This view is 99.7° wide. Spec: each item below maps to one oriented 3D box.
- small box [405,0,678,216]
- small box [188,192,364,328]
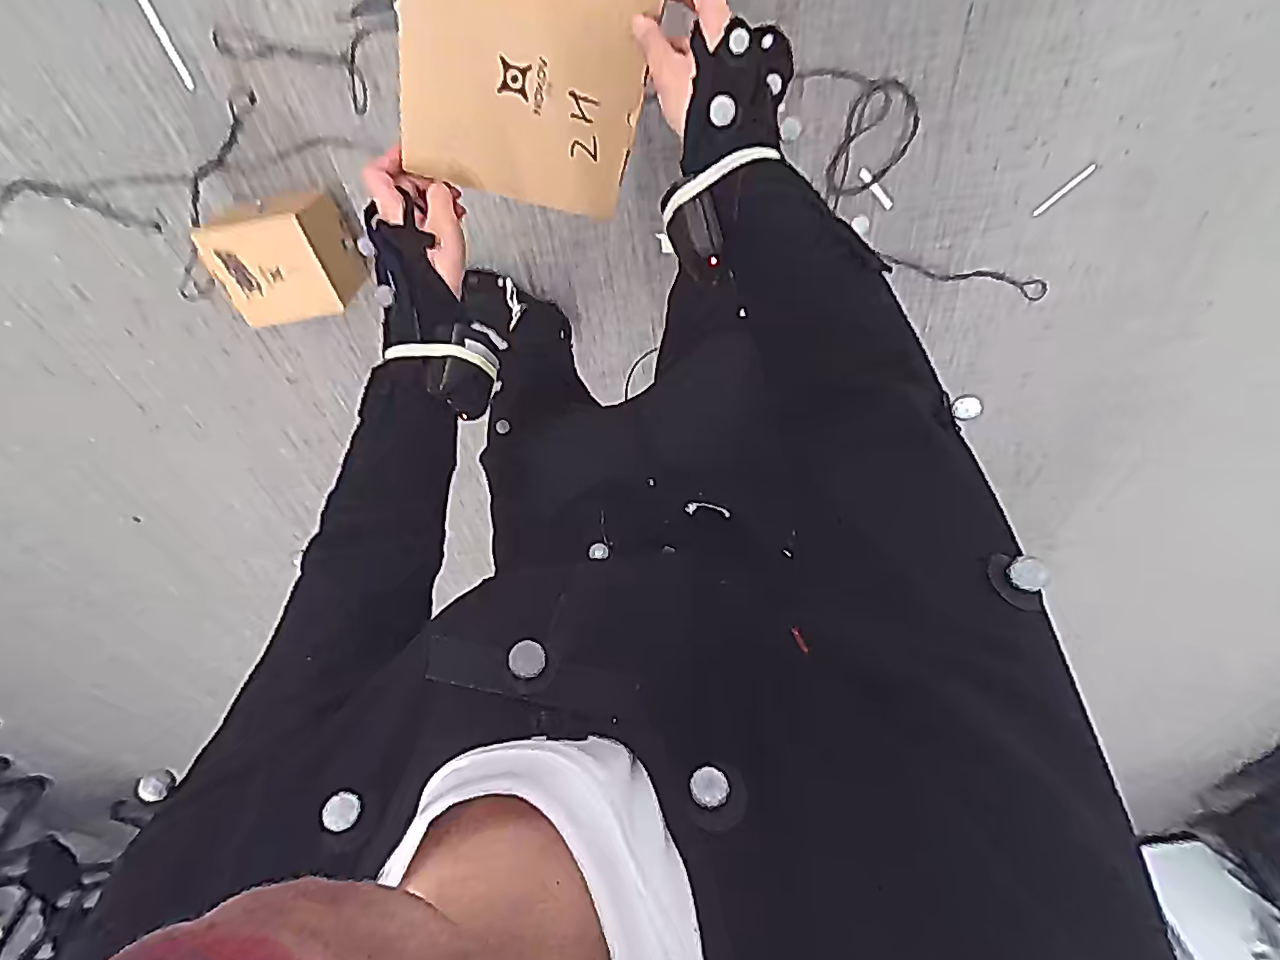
[{"bbox_3d":[-0.087,-0.353,0.446,0.179,0.176,0.168,6,136,-18],"label":"small box"},{"bbox_3d":[-0.633,-0.396,0.968,0.179,0.176,0.168,-10,132,0],"label":"small box"}]
